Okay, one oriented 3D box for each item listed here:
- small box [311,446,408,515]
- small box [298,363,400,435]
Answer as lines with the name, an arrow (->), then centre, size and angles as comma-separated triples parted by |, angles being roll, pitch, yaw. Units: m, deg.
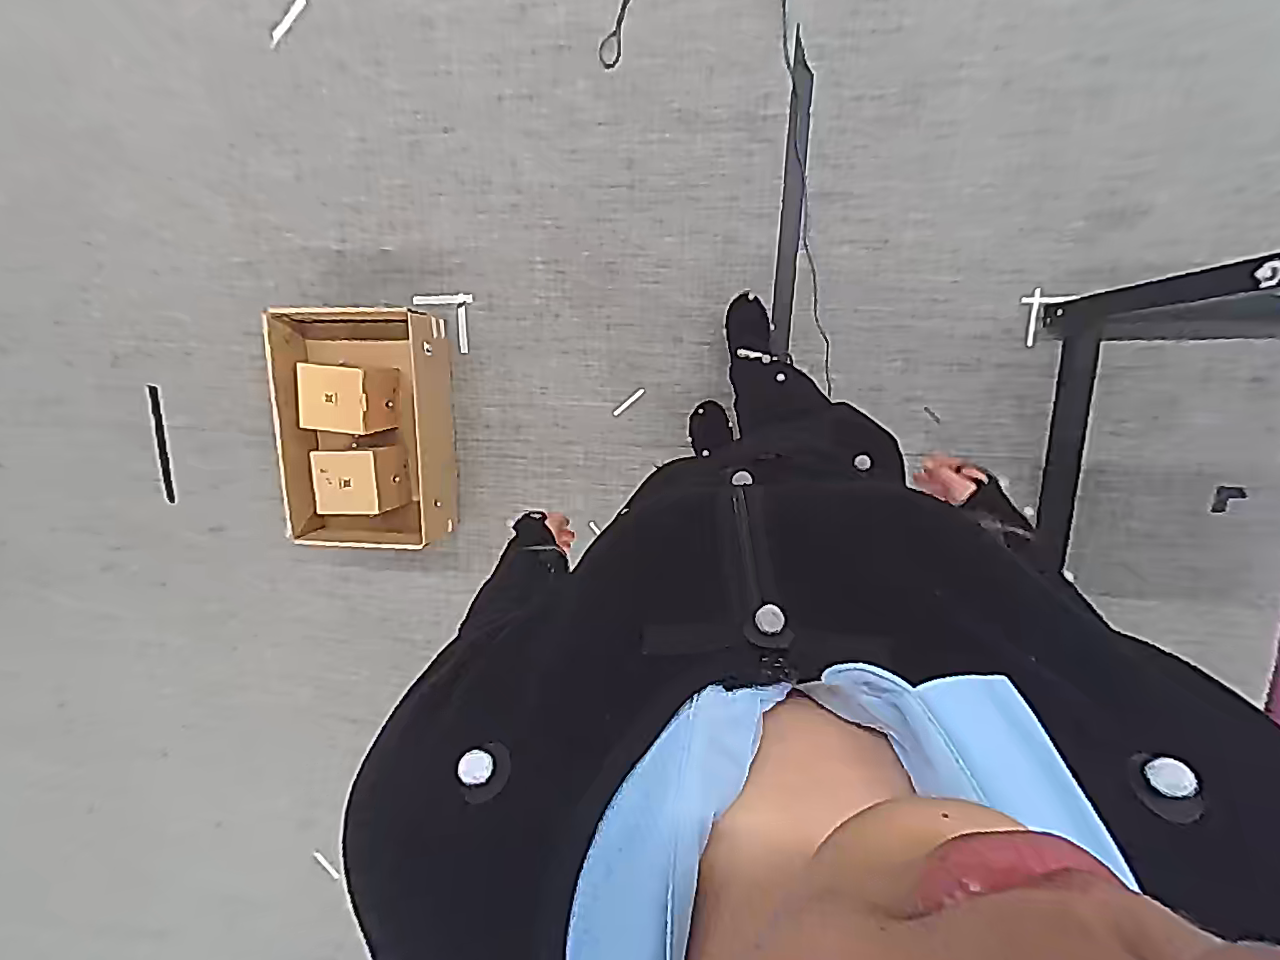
small box -> -0.748, -0.002, 1.465 | 0.179, 0.176, 0.168 | 0, 99, 6
small box -> -0.765, -0.216, 1.430 | 0.179, 0.176, 0.168 | 7, 102, 5
